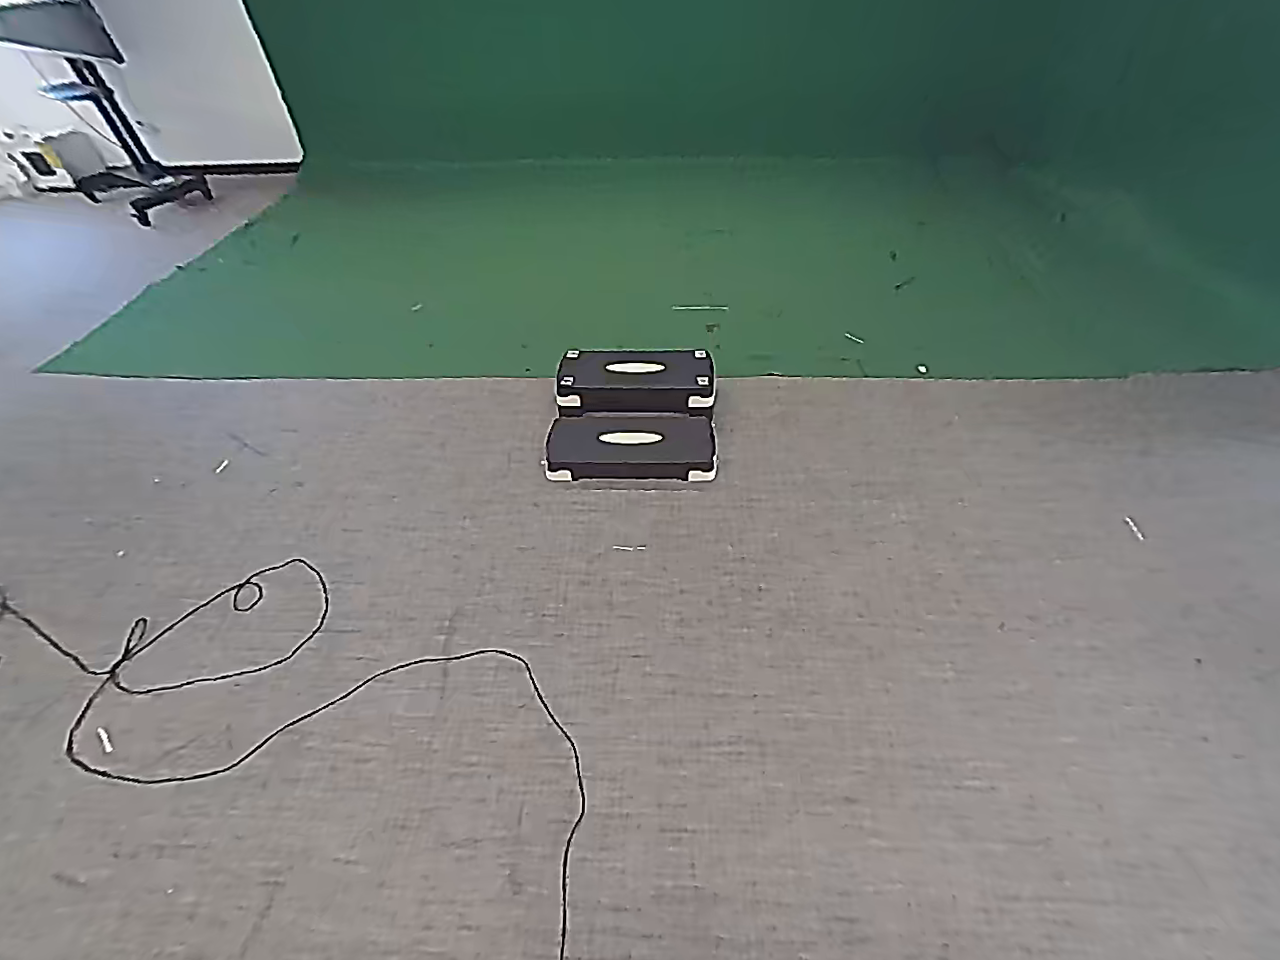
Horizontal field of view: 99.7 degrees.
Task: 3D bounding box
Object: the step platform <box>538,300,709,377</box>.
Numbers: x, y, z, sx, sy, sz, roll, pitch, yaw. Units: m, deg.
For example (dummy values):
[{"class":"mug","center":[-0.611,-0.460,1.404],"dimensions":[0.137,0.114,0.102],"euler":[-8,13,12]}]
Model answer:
[{"class":"step platform","center":[-0.062,-0.580,2.222],"dimensions":[0.684,0.204,0.286],"euler":[0,47,3]}]
